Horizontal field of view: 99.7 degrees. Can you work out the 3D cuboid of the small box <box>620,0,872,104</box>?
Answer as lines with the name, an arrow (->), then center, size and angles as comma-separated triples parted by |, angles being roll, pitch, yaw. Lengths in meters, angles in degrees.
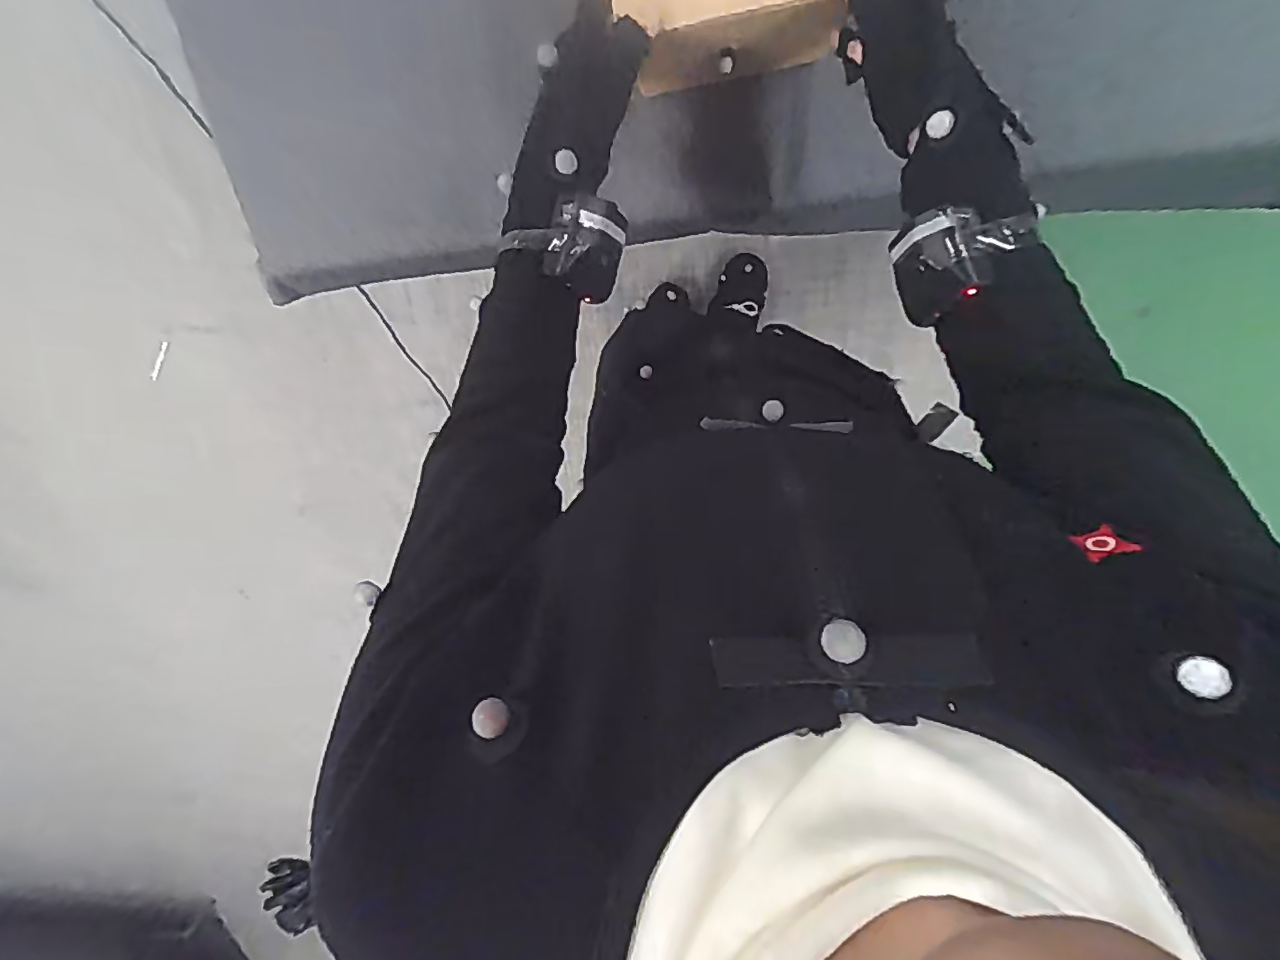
small box -> 0.069, -0.422, 0.420 | 0.179, 0.176, 0.168 | -8, 113, 10
